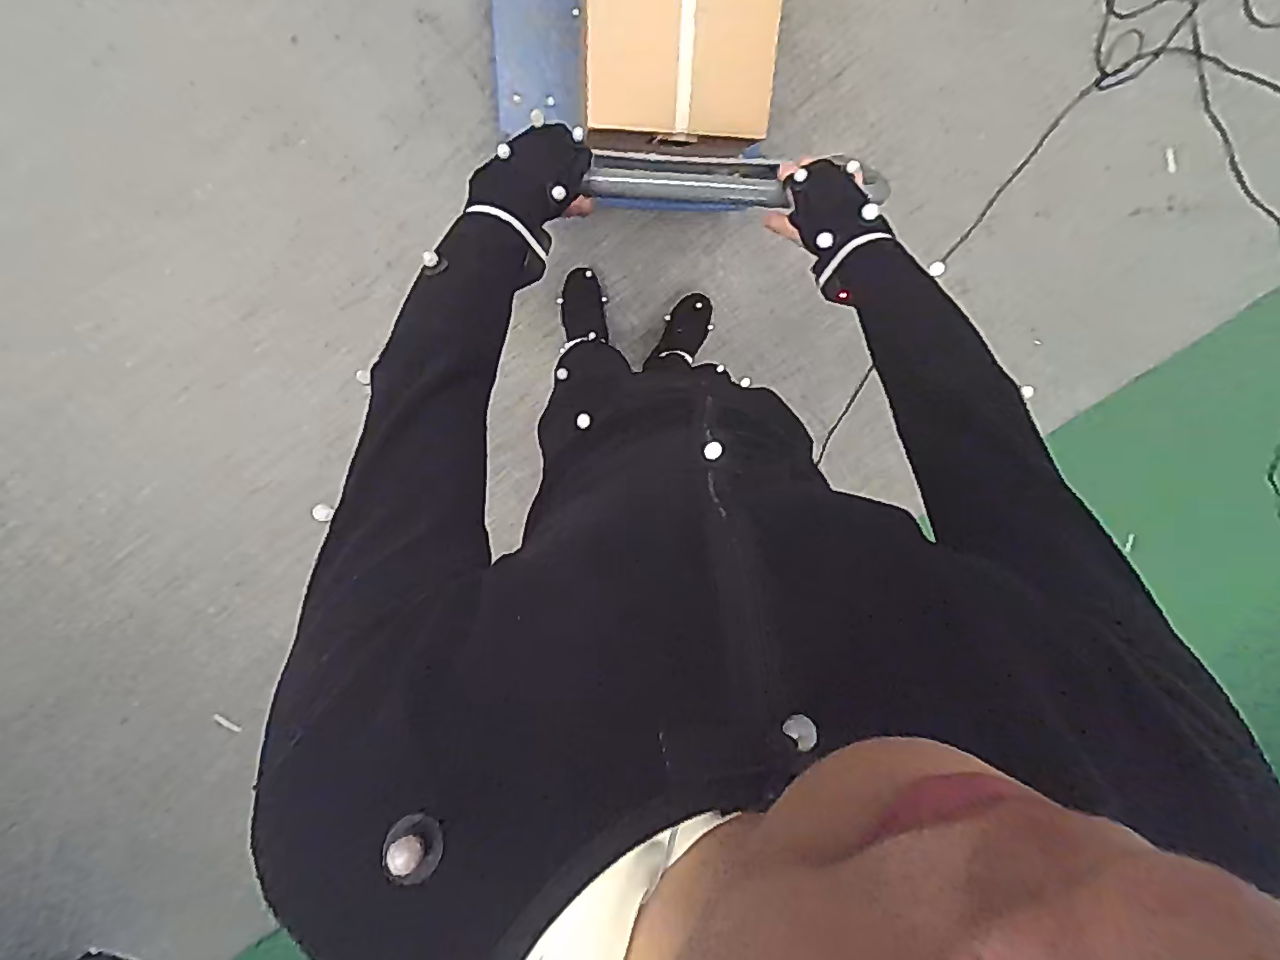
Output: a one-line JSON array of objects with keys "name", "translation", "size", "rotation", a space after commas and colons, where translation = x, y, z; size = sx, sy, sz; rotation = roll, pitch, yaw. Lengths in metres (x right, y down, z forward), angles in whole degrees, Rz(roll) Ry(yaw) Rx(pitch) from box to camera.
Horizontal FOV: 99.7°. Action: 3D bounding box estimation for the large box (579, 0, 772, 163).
[{"name": "large box", "translation": [0.047, -0.835, 0.998], "size": [0.320, 0.320, 0.408], "rotation": [-2, 114, -9]}]
